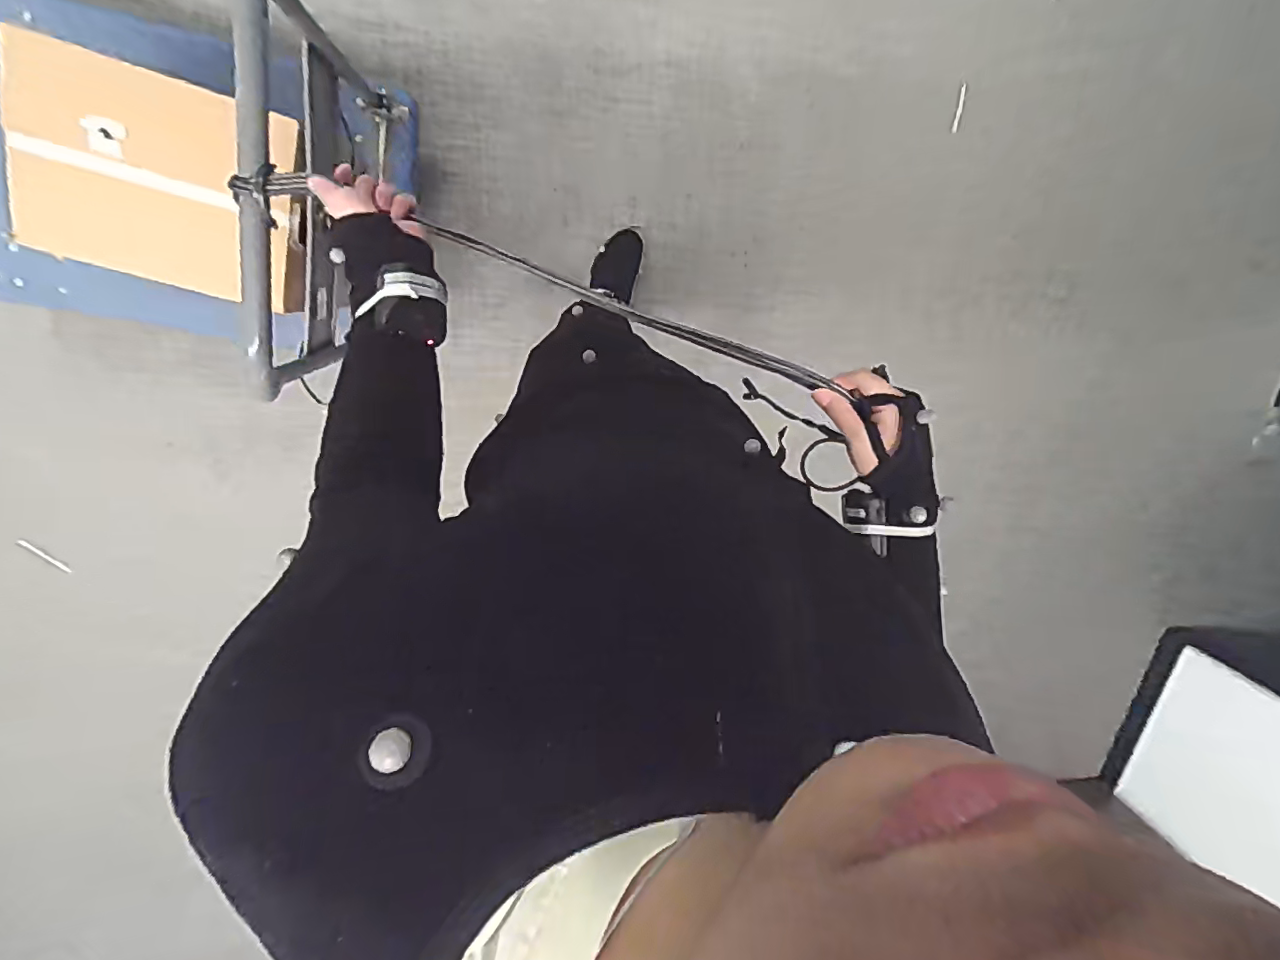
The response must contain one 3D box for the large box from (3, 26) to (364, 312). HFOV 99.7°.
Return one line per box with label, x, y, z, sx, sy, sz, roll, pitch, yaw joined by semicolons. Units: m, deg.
large box;-0.784;-0.525;1.000;0.408;0.320;0.320;14;107;-12
